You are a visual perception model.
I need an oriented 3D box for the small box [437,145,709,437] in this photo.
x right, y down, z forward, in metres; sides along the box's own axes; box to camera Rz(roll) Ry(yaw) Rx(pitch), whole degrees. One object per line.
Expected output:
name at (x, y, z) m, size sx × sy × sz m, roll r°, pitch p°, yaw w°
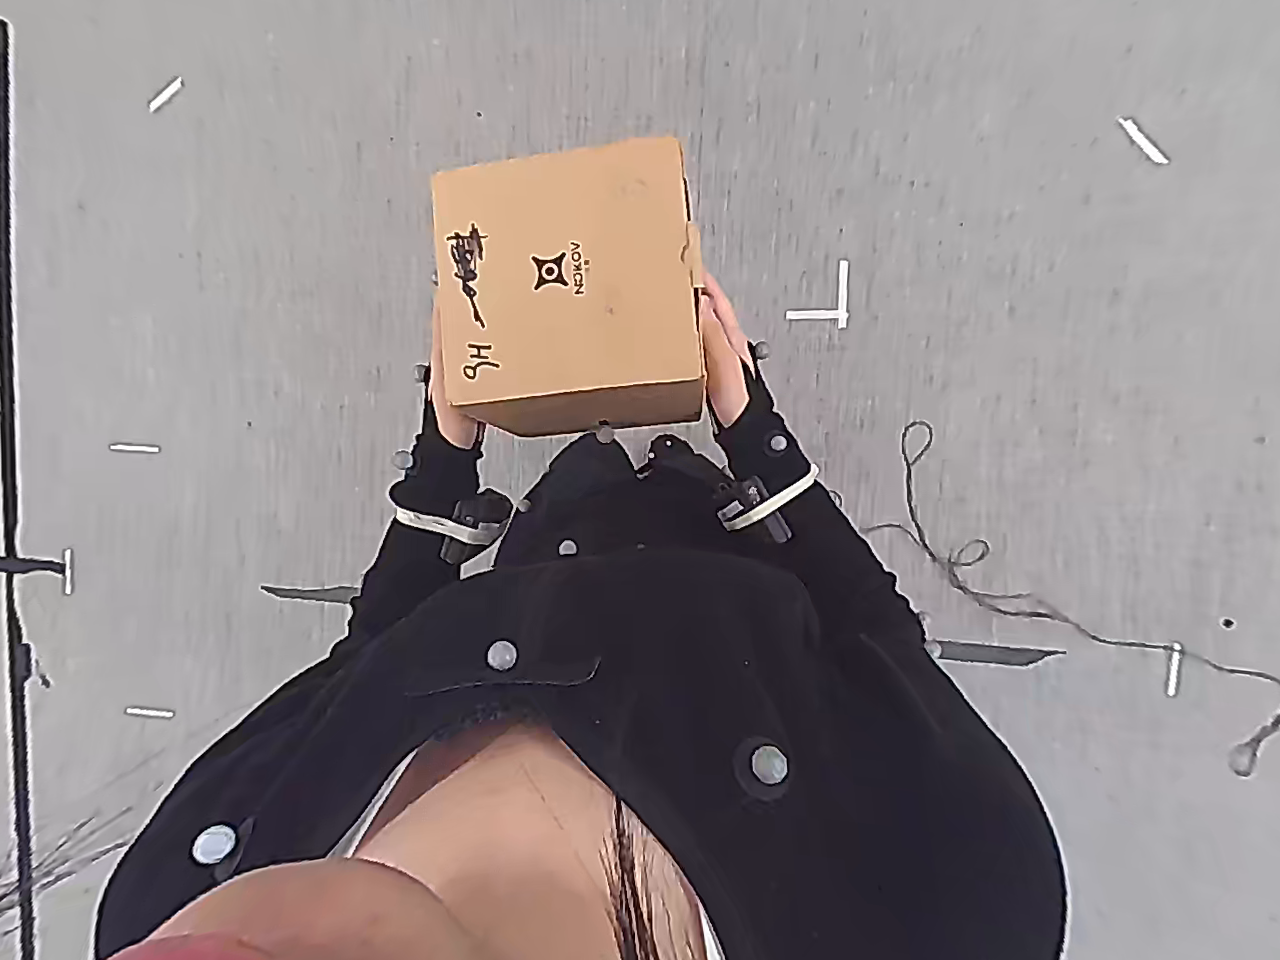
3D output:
small box at (-0.042, -0.132, 0.441) m, size 0.179 × 0.176 × 0.168 m, roll -5°, pitch 86°, yaw 4°
